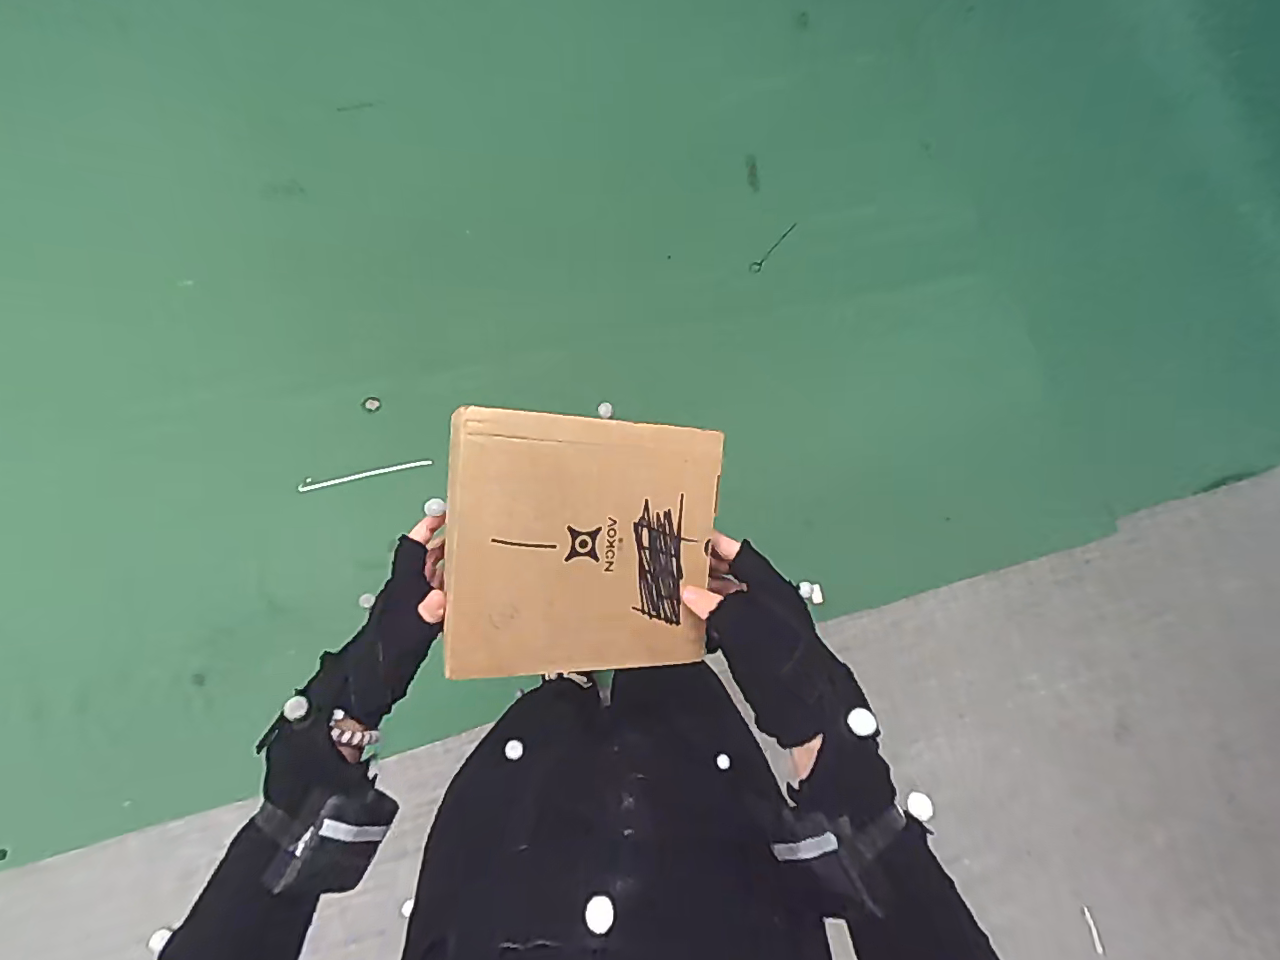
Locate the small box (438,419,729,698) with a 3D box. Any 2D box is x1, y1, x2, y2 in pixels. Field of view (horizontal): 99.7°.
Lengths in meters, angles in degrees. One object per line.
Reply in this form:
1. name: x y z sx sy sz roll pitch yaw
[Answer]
1. small box: -0.055 0.044 0.413 0.179 0.176 0.168 4 93 -21
